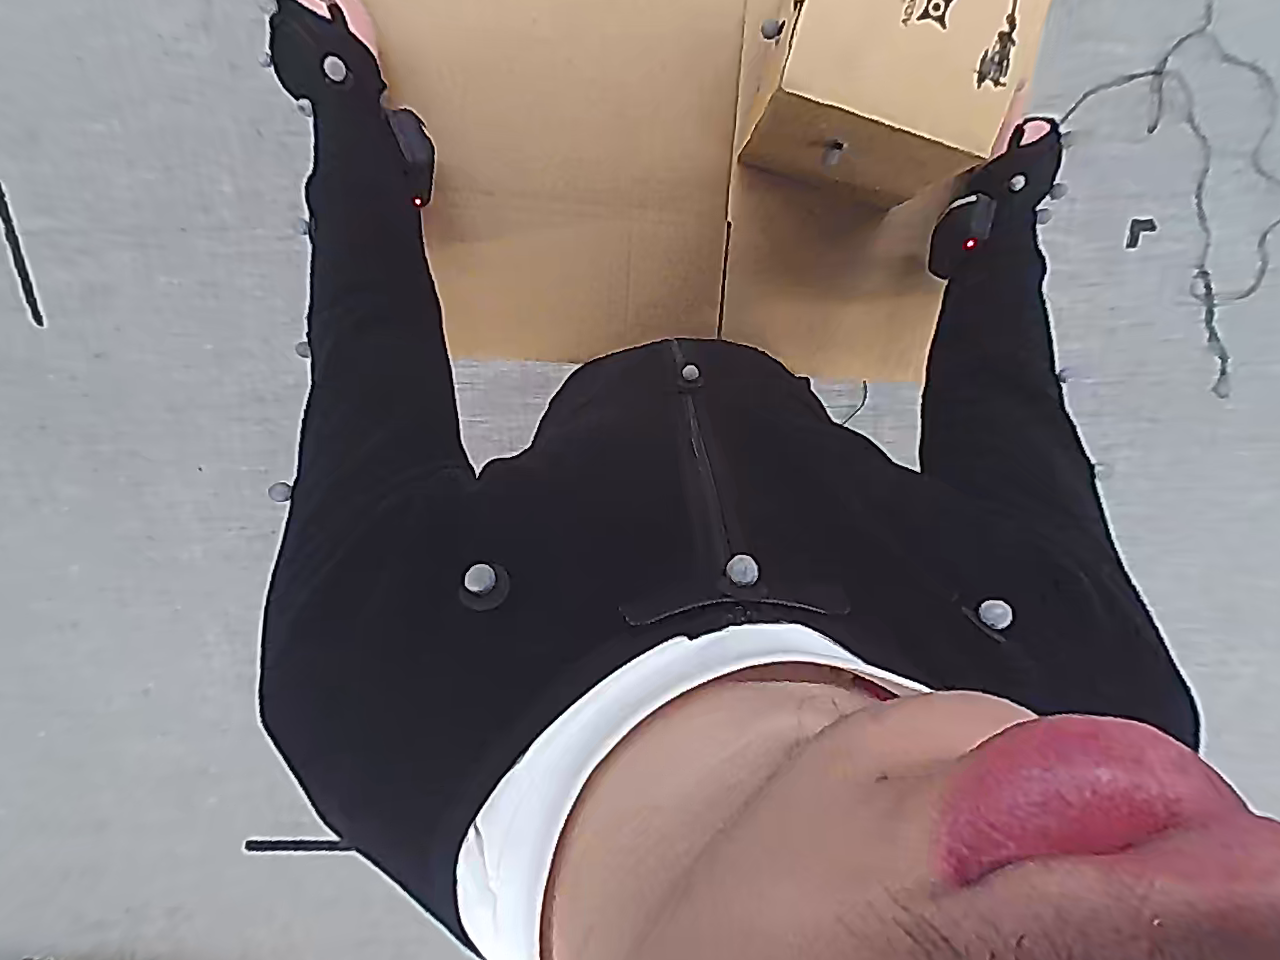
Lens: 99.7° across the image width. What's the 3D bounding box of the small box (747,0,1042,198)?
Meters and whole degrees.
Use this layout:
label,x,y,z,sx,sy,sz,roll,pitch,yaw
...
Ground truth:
label,x,y,z,sx,sy,sz,roll,pitch,yaw
small box,0.209,-0.373,0.477,0.179,0.176,0.168,15,104,-3
